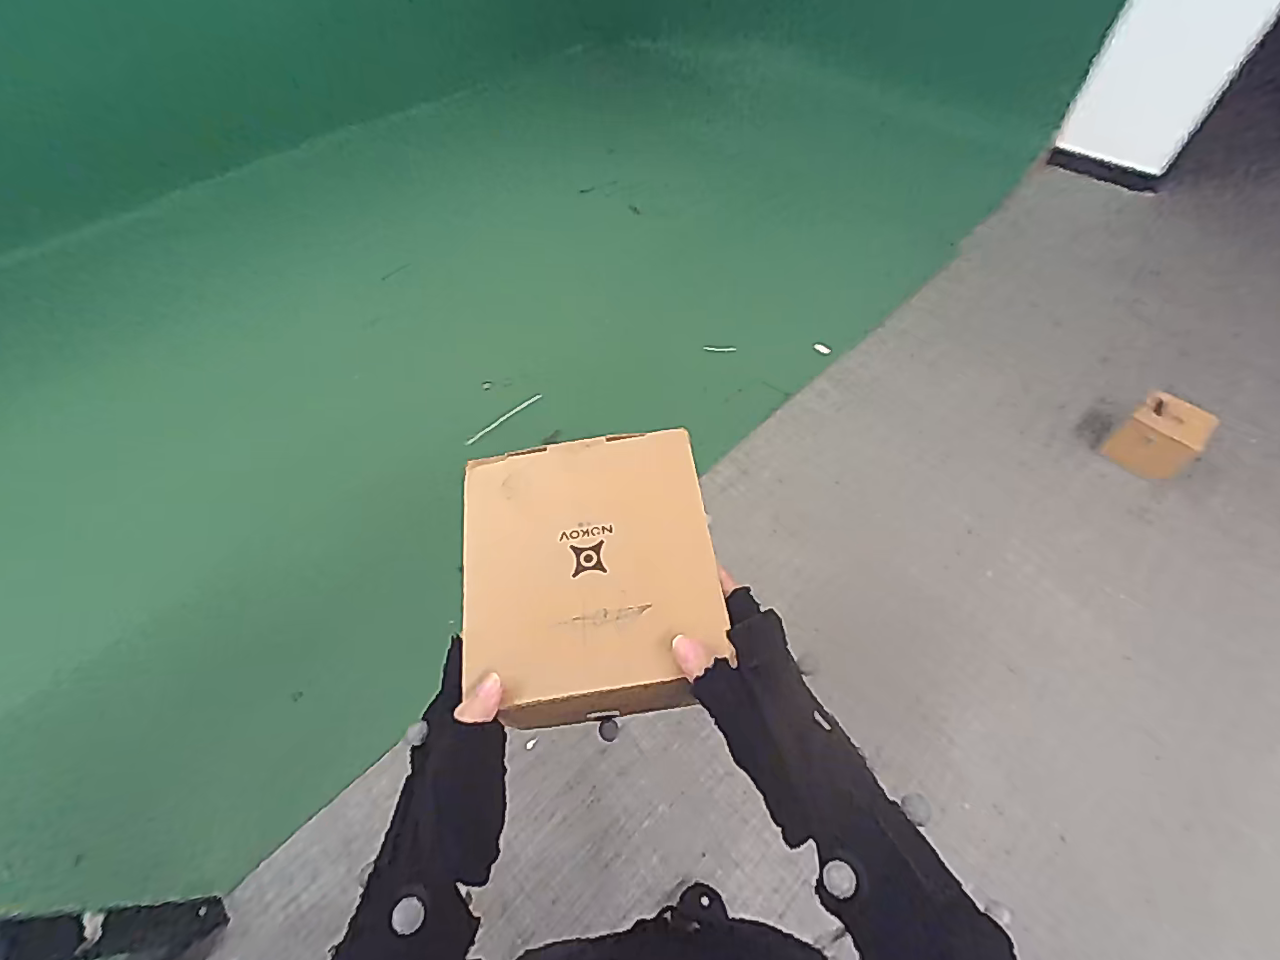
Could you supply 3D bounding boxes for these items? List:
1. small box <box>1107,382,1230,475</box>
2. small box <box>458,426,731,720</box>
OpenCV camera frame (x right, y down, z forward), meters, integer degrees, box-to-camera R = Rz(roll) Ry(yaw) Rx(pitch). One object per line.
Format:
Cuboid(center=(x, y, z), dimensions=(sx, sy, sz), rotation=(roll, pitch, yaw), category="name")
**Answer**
Cuboid(center=(1.535, -0.147, 1.583), dimensions=(0.168, 0.176, 0.179), rotation=(-38, 62, -20), category="small box")
Cuboid(center=(-0.030, 0.082, 0.428), dimensions=(0.168, 0.176, 0.179), rotation=(-8, 63, 1), category="small box")
